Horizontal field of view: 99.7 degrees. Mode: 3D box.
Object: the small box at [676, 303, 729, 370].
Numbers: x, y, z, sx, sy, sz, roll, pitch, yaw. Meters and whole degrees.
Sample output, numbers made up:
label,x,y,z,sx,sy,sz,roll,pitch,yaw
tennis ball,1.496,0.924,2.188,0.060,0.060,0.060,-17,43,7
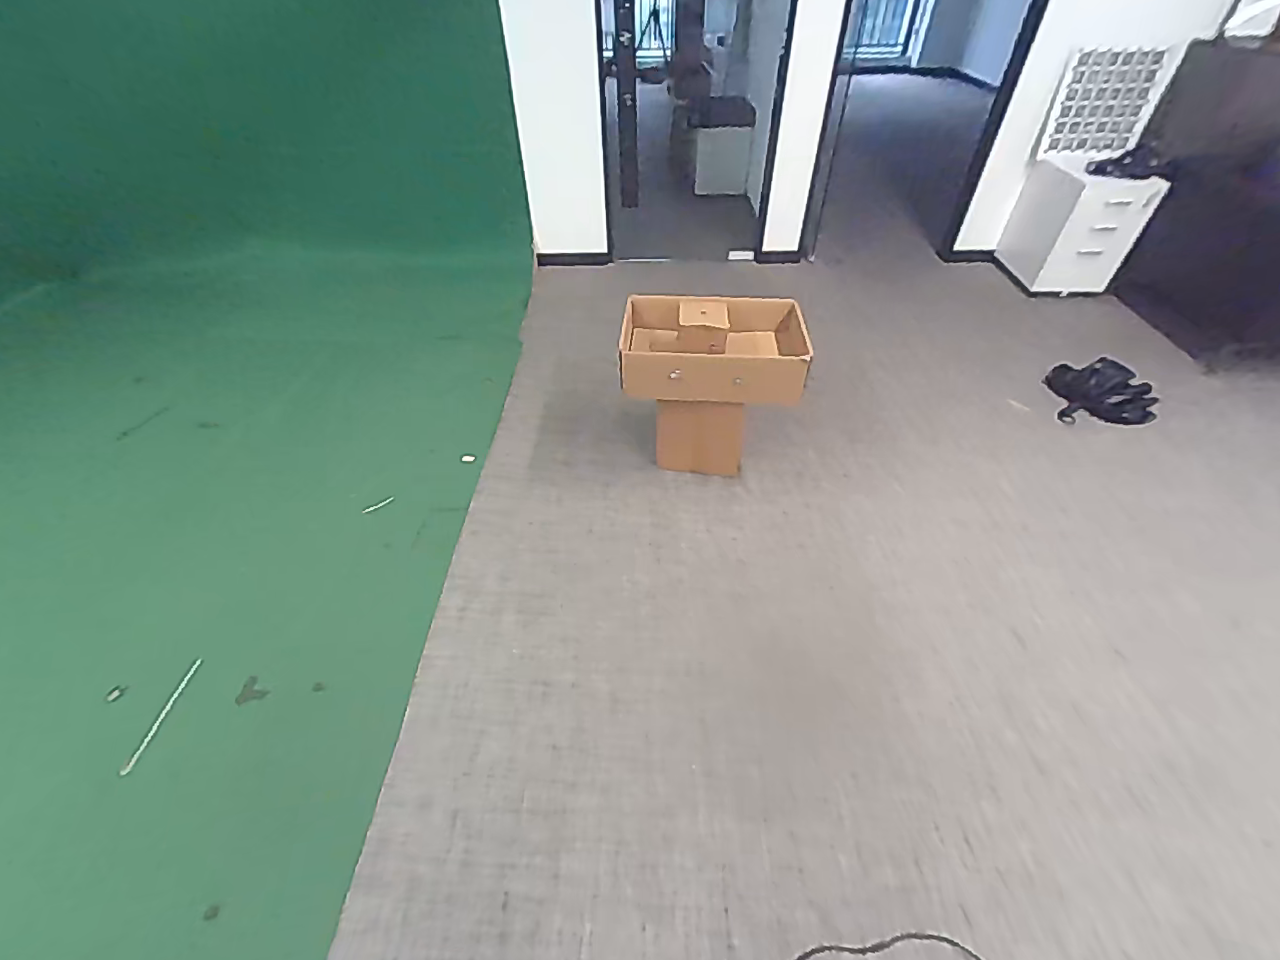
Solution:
label,x,y,z,sx,sy,sz,roll,pitch,yaw
small box,0.218,-0.500,1.897,0.168,0.176,0.179,4,43,1
